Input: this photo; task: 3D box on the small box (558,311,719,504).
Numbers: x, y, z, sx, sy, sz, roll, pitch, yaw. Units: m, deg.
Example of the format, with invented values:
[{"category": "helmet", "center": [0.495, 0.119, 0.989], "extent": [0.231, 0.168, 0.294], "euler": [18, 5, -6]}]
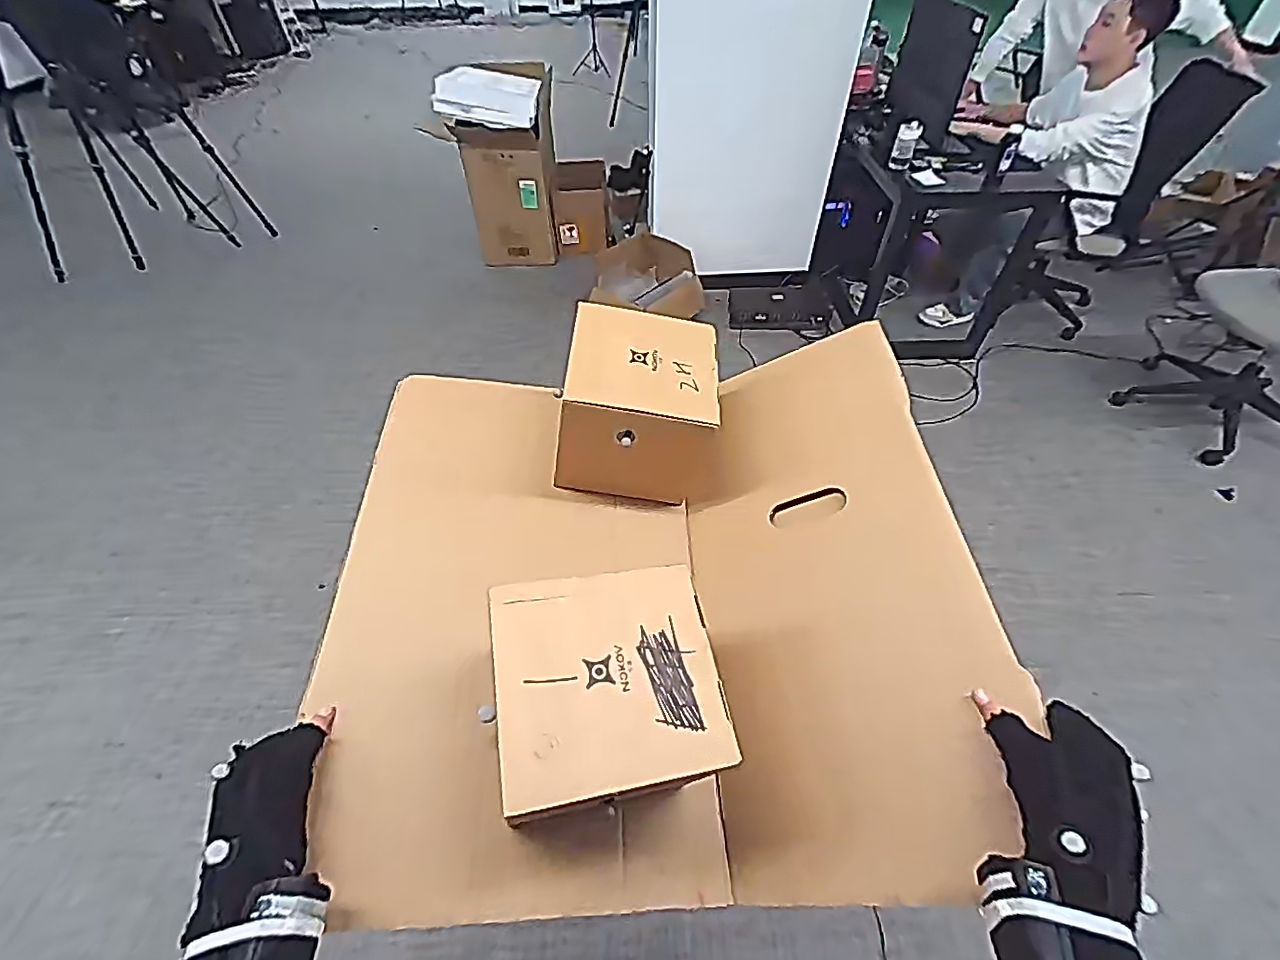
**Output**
[{"category": "small box", "center": [-0.007, -0.086, 0.698], "extent": [0.179, 0.176, 0.168], "euler": [10, 55, -7]}]

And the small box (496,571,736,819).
[{"category": "small box", "center": [-0.038, 0.199, 0.497], "extent": [0.179, 0.176, 0.168], "euler": [-4, 58, -15]}]
